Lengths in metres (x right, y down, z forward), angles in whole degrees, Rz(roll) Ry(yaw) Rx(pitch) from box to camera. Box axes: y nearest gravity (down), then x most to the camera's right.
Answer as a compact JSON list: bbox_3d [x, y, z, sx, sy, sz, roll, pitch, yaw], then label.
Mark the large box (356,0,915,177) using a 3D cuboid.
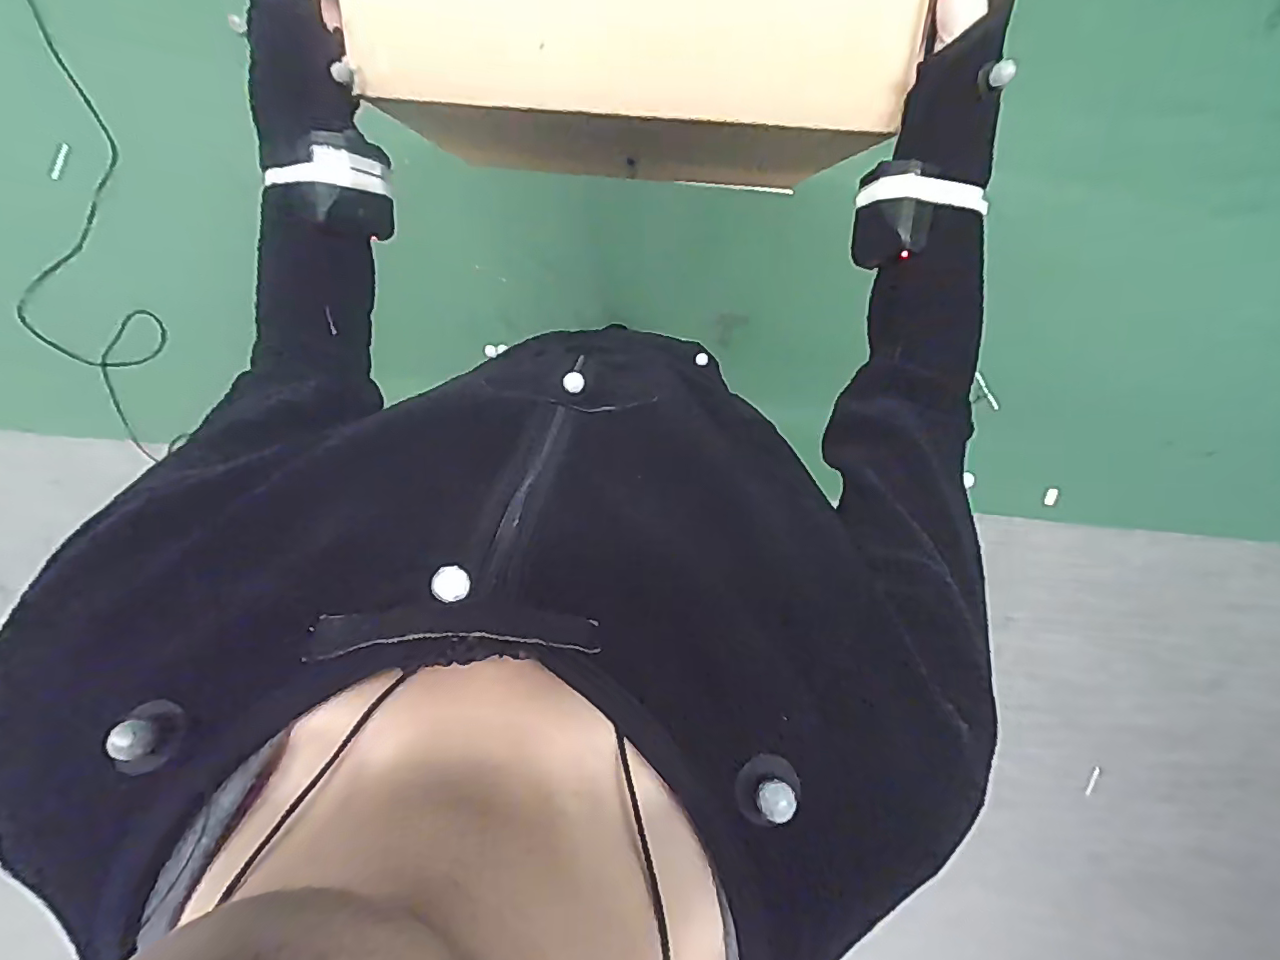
[{"bbox_3d":[0.000,-0.472,0.490,0.408,0.320,0.320,2,111,-2],"label":"large box"}]
